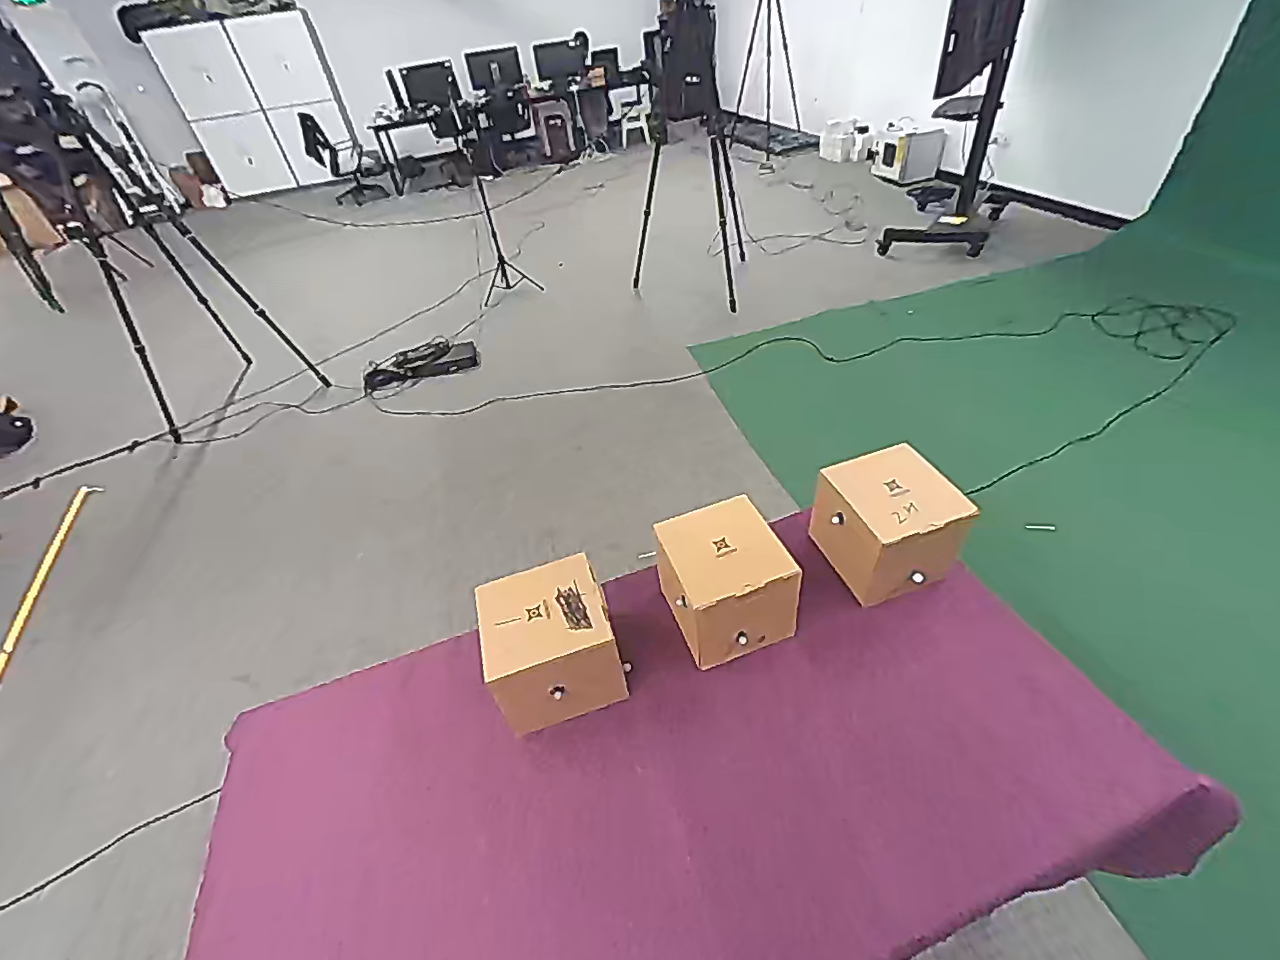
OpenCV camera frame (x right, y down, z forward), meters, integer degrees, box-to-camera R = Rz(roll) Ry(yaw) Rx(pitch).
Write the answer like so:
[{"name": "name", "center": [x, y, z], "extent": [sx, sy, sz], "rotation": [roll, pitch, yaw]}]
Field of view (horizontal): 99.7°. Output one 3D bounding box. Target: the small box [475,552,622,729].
[{"name": "small box", "center": [-0.132, 0.243, 0.818], "extent": [0.179, 0.176, 0.168], "rotation": [-18, 43, -8]}]

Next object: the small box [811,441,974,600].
[{"name": "small box", "center": [0.404, 0.068, 0.905], "extent": [0.168, 0.176, 0.179], "rotation": [-17, 45, -7]}]

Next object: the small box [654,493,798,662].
[{"name": "small box", "center": [0.131, 0.155, 0.868], "extent": [0.168, 0.176, 0.179], "rotation": [-18, 44, -9]}]
